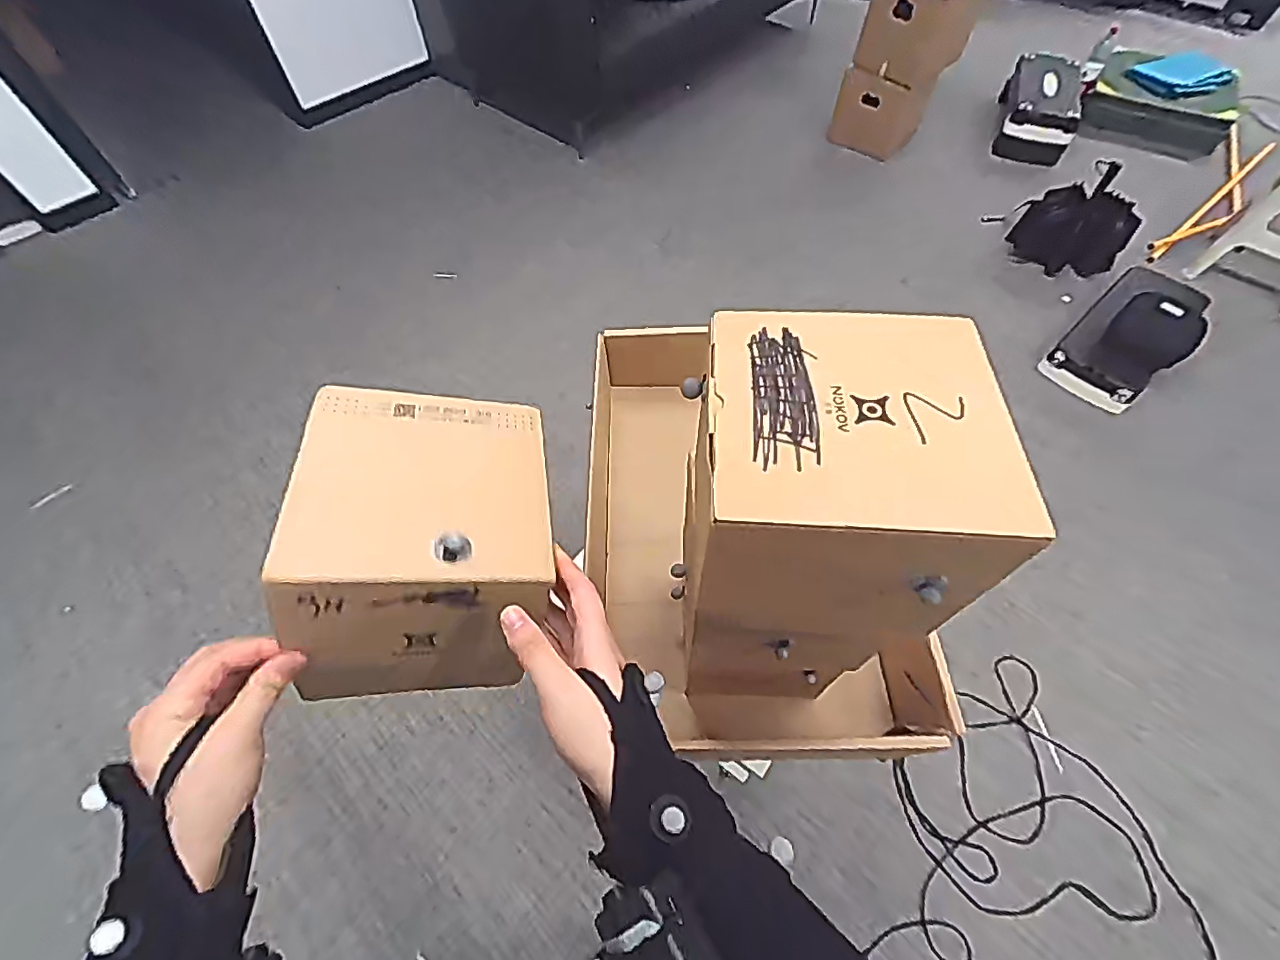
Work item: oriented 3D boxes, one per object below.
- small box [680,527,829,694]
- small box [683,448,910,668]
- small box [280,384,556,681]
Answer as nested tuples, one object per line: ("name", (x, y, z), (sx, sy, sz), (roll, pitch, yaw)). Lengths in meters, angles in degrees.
("small box", (0.140, 0.168, 0.684), (0.179, 0.176, 0.168), (-1, 56, 2))
("small box", (0.135, 0.083, 0.543), (0.179, 0.176, 0.168), (-1, 56, 3))
("small box", (-0.168, 0.048, 0.448), (0.168, 0.179, 0.176), (4, 46, -19))
